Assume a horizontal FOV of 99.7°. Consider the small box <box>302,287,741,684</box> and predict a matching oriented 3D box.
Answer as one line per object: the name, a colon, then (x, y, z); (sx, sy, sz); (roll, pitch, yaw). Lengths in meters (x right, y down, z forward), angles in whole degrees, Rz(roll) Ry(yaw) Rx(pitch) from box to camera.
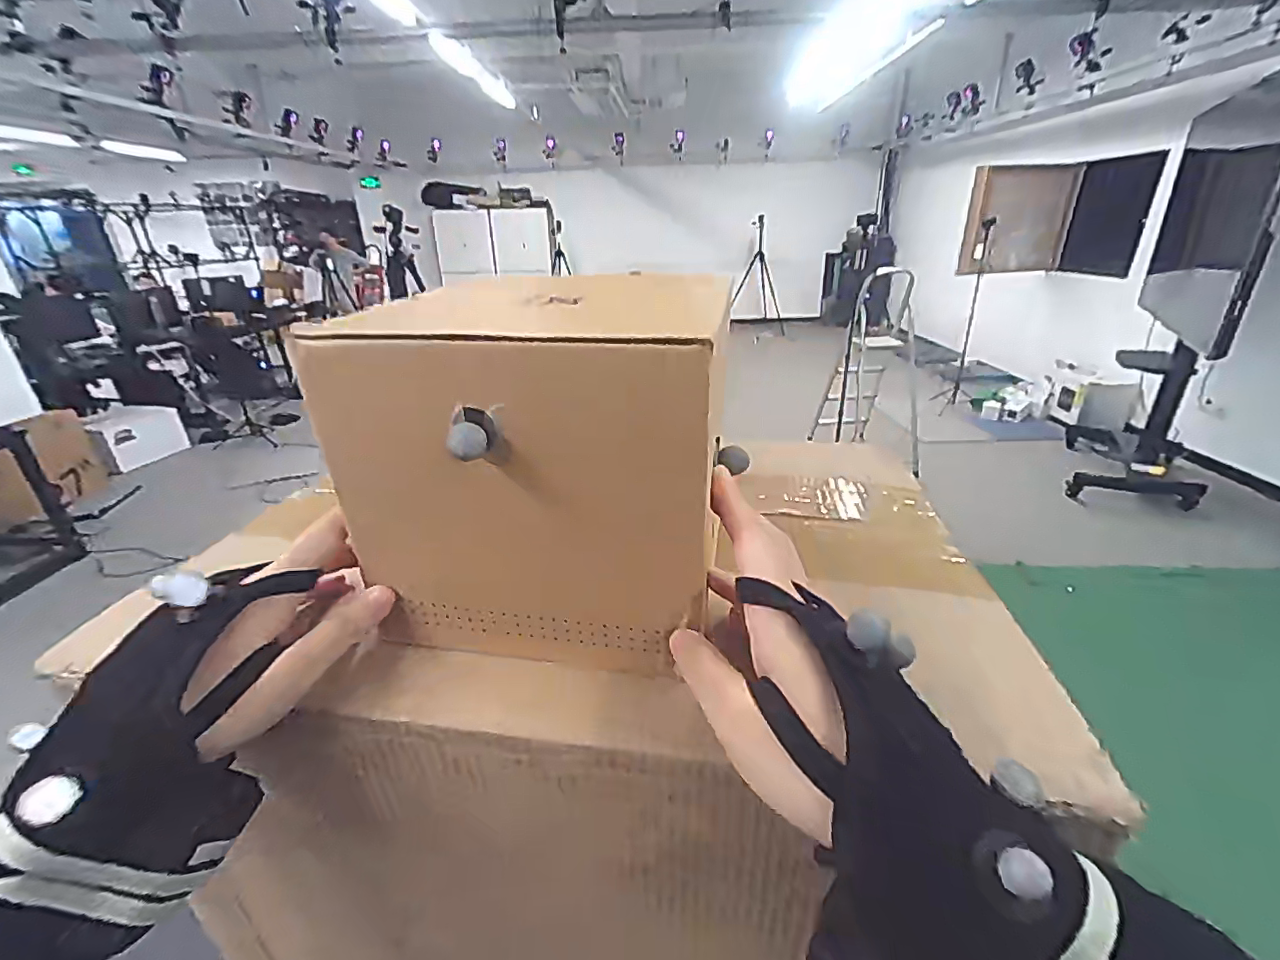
small box: (-0.037, -0.008, 0.312); (0.179, 0.176, 0.168); (3, 28, 10)
